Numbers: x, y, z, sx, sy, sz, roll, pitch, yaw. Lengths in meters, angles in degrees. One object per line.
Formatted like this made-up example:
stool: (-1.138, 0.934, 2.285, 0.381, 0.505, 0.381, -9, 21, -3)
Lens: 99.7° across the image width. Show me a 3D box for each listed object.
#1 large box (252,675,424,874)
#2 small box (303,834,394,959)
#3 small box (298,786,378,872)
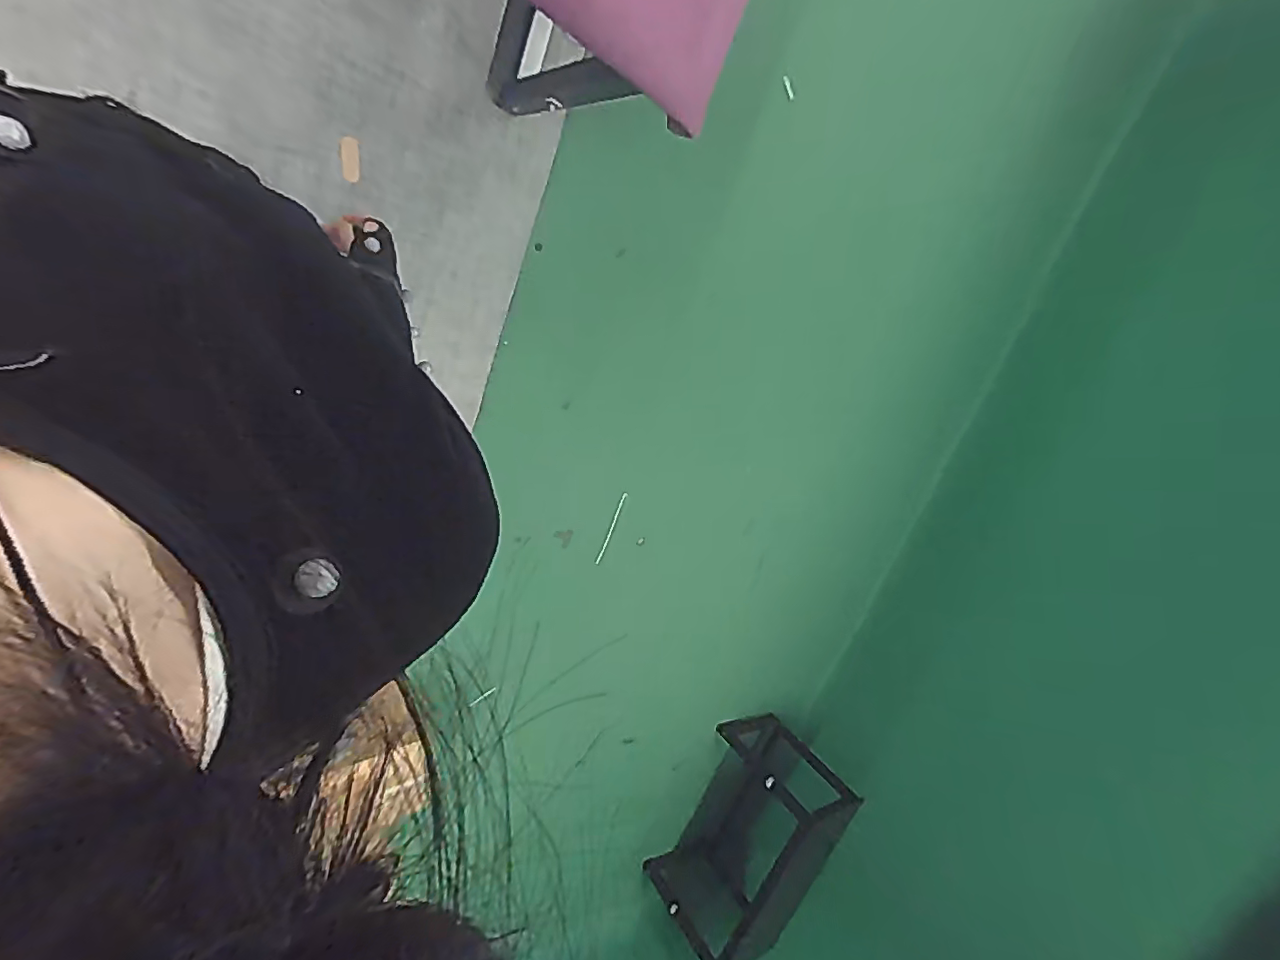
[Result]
large box: (-0.915, 0.870, 1.654, 0.408, 0.320, 0.320, -8, 120, -36)
small box: (-0.719, 1.030, 1.330, 0.179, 0.176, 0.168, -8, 118, -35)
small box: (-0.808, 0.961, 1.449, 0.168, 0.176, 0.179, -7, 118, -35)
